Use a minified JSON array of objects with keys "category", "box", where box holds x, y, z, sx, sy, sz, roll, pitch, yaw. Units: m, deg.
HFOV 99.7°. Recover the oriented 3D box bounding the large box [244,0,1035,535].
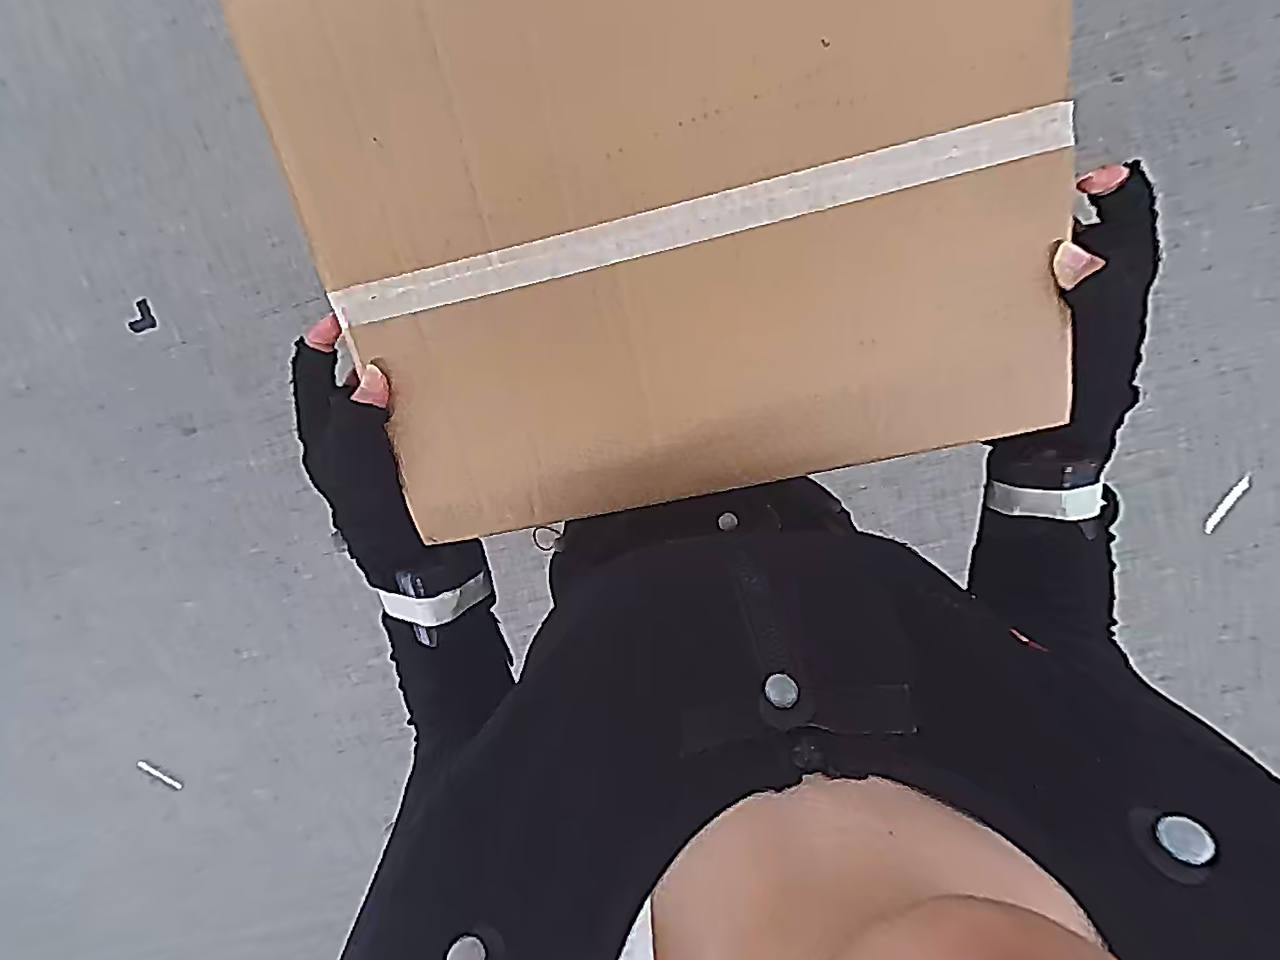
[{"category":"large box","box":[0.022,-0.190,0.448,0.408,0.320,0.320,-11,106,6]}]
